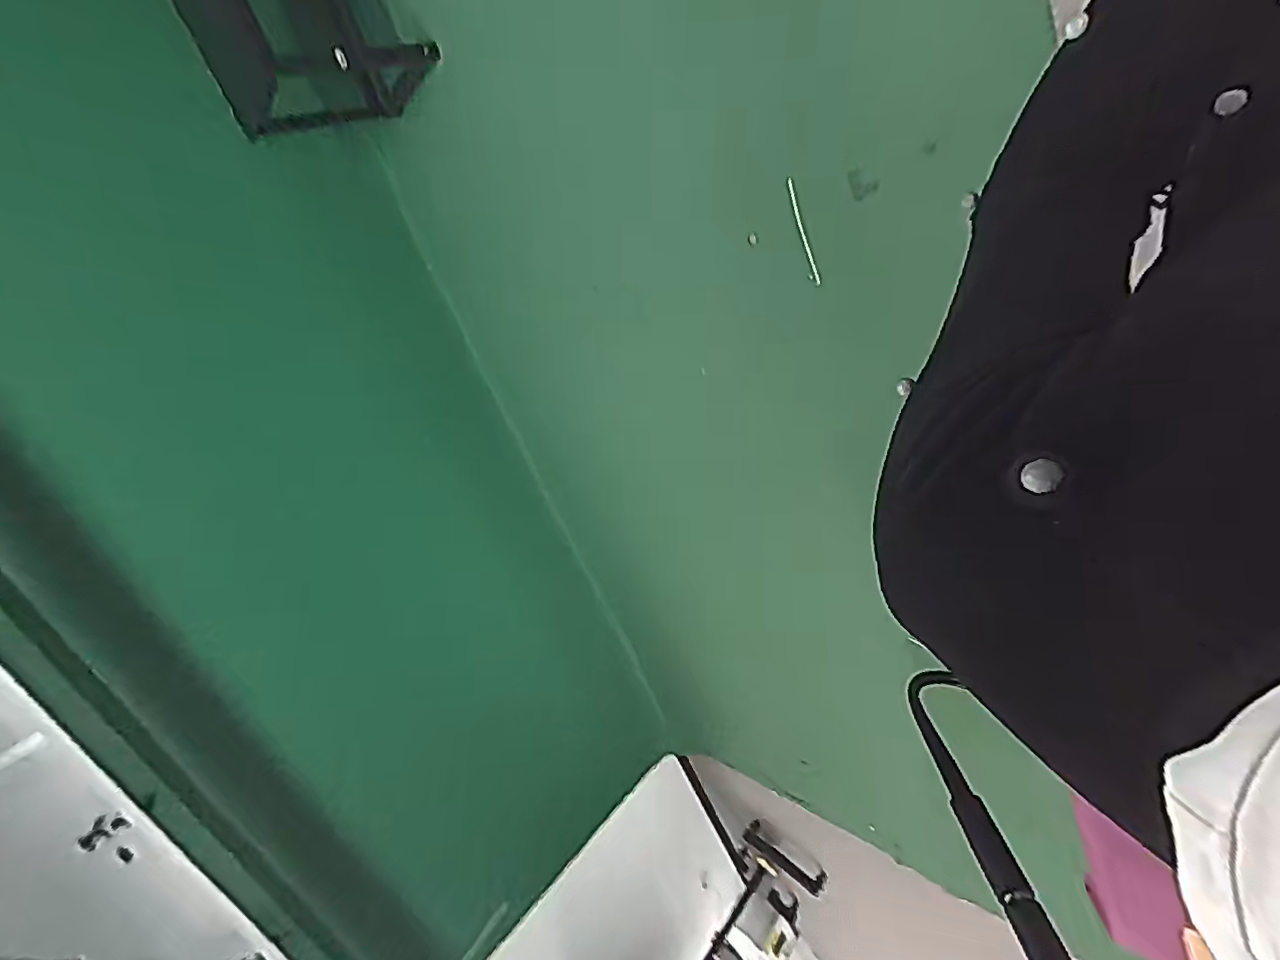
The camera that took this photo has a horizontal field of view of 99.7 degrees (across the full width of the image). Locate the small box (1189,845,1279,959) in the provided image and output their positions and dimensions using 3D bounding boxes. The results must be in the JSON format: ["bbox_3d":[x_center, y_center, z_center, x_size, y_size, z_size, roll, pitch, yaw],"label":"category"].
[{"bbox_3d":[1.013,0.744,0.864,0.168,0.176,0.179,-5,117,52],"label":"small box"}]
